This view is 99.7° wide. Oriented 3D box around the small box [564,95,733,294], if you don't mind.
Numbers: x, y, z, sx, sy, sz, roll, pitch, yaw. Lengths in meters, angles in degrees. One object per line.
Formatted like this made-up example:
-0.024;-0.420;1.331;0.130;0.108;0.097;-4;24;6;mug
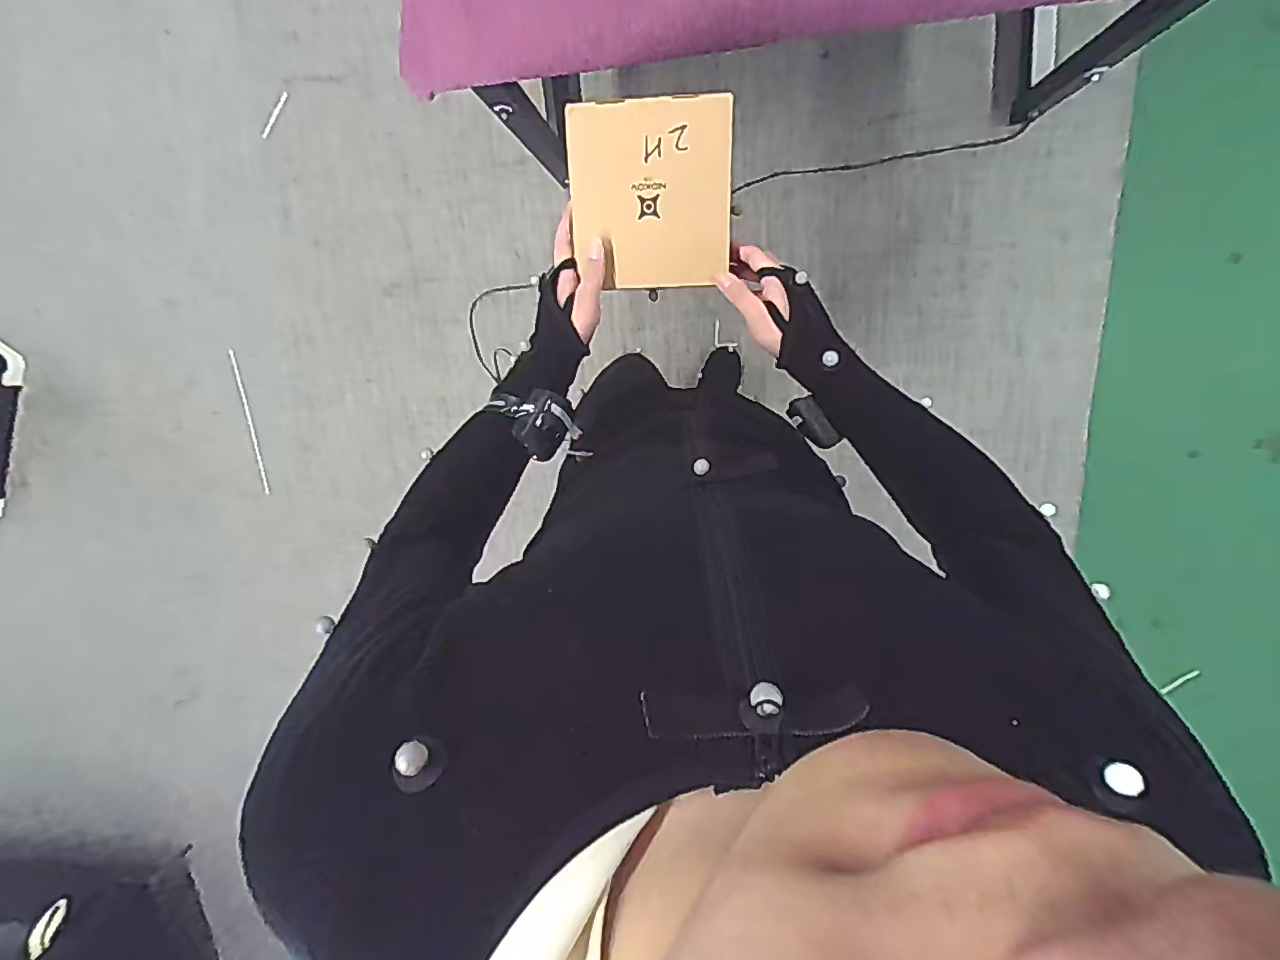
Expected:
0.017;-0.310;0.620;0.168;0.176;0.179;0;110;6;small box
